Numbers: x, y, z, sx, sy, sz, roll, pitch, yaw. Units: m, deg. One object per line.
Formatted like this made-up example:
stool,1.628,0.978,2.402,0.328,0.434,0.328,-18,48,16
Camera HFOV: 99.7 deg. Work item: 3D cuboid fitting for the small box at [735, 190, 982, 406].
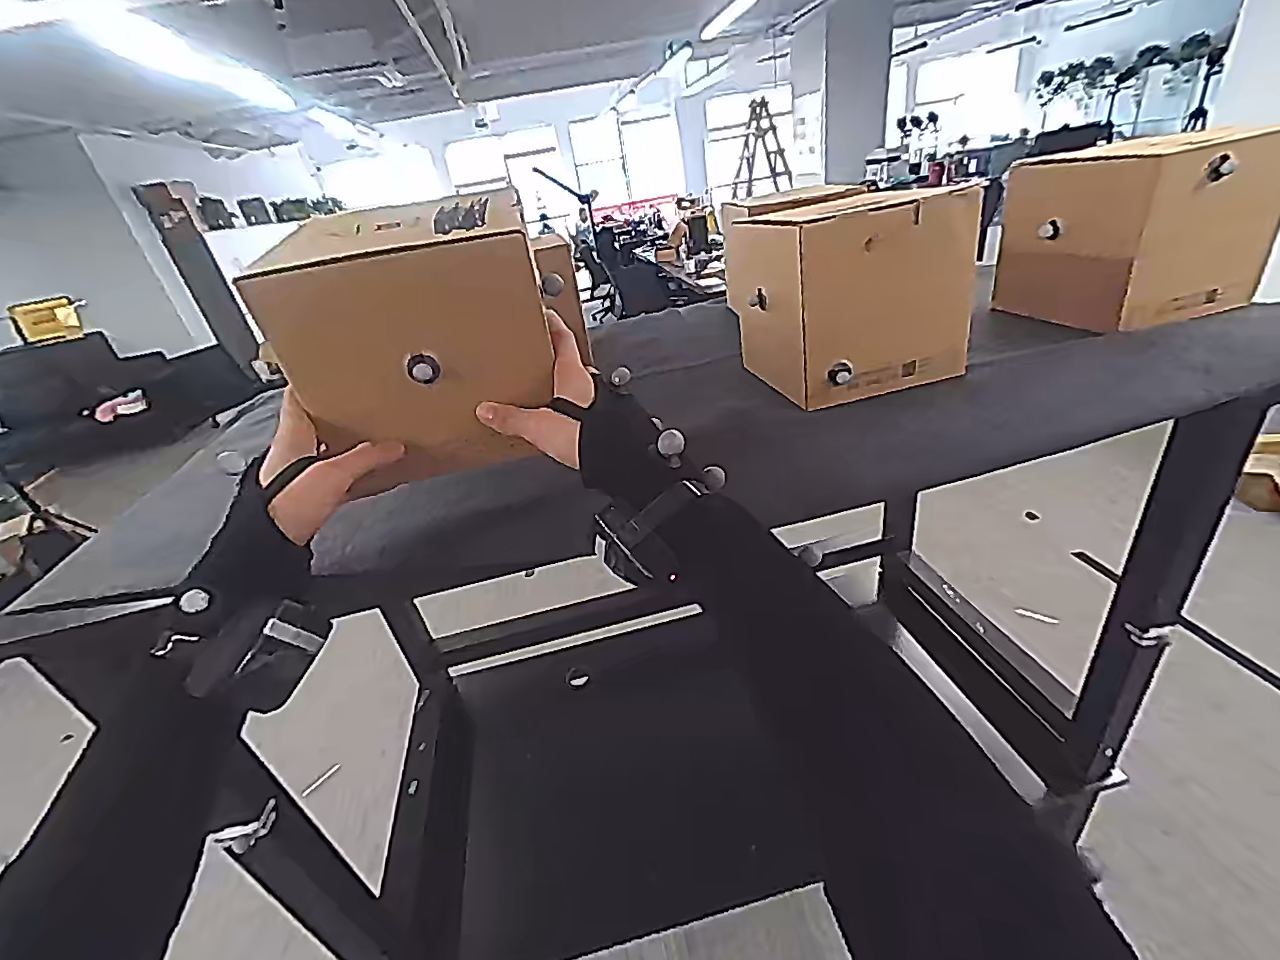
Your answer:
small box,0.210,-0.185,0.555,0.168,0.176,0.179,-13,27,-5

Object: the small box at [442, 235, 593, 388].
small box,-0.169,-0.242,0.779,0.168,0.176,0.179,-13,30,-6

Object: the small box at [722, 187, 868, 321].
small box,0.229,-0.339,0.828,0.168,0.176,0.179,-10,29,-1

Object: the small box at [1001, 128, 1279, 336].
small box,0.538,-0.267,0.594,0.168,0.176,0.179,-14,28,-5
